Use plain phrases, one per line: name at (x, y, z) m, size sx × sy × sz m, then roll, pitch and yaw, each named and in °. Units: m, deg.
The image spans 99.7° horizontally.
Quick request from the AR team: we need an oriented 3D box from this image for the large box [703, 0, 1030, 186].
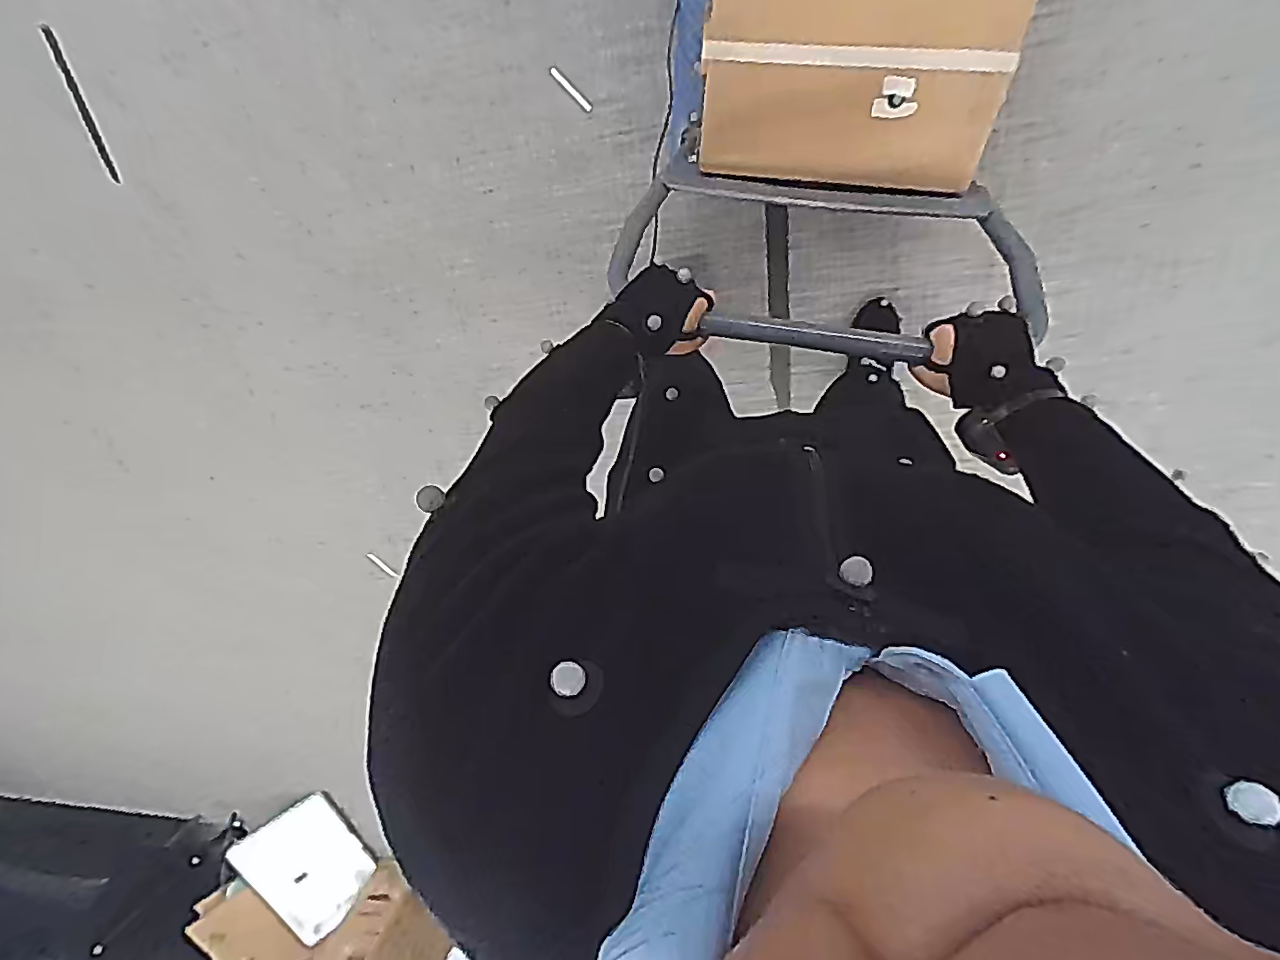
large box at (0.327, -0.681, 0.859) m, size 0.408 × 0.320 × 0.320 m, roll 9°, pitch 131°, yaw 8°
